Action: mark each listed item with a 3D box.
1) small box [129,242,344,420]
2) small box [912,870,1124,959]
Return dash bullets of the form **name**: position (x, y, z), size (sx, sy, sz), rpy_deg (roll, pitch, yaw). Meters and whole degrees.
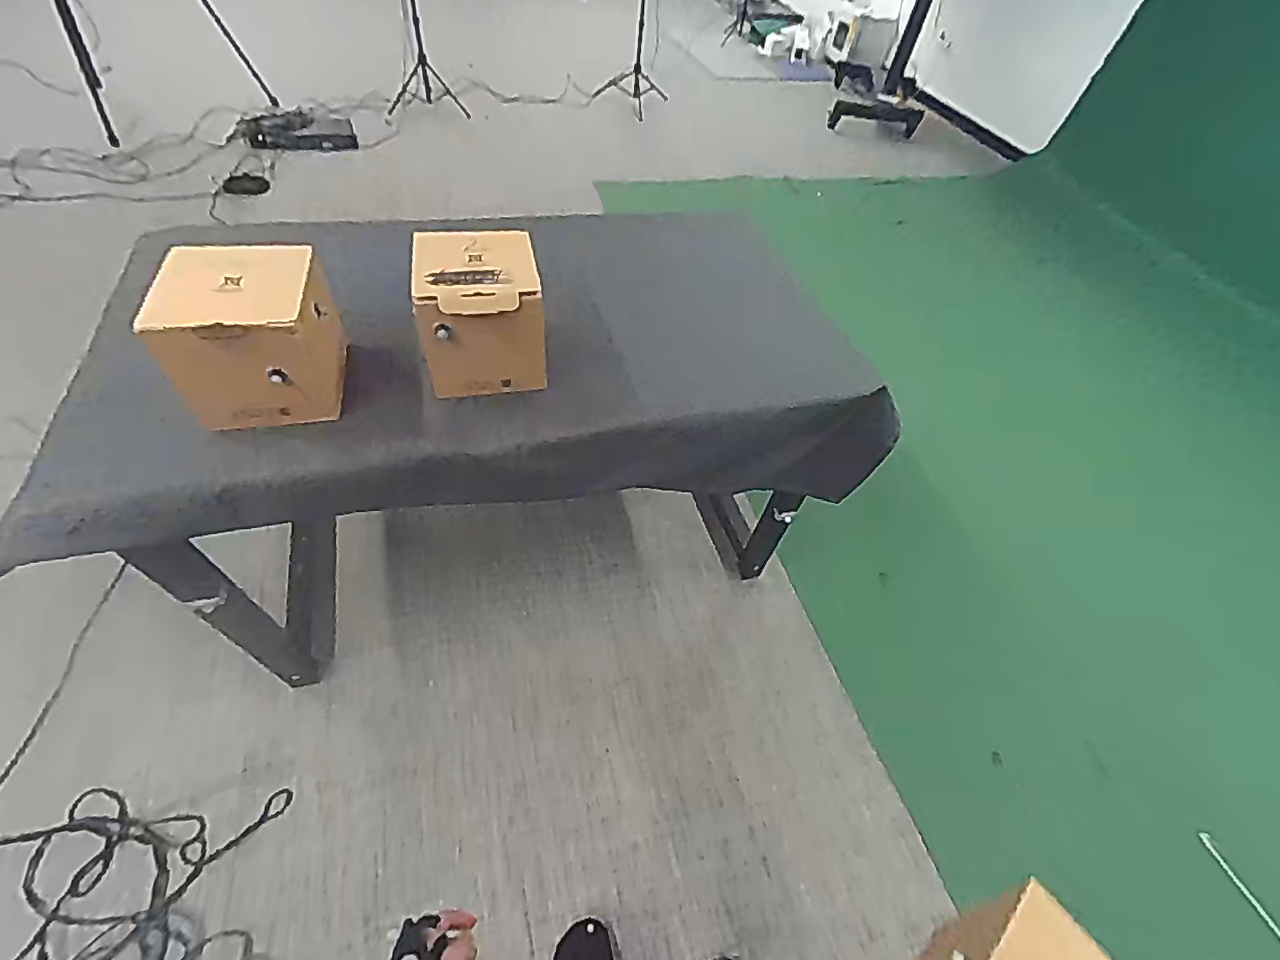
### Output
- **small box**: position (-0.510, -0.193, 0.719), size (0.168, 0.176, 0.179), rpy_deg (-7, 52, -15)
- **small box**: position (0.378, 0.536, 0.526), size (0.179, 0.176, 0.168), rpy_deg (-11, 47, -39)
